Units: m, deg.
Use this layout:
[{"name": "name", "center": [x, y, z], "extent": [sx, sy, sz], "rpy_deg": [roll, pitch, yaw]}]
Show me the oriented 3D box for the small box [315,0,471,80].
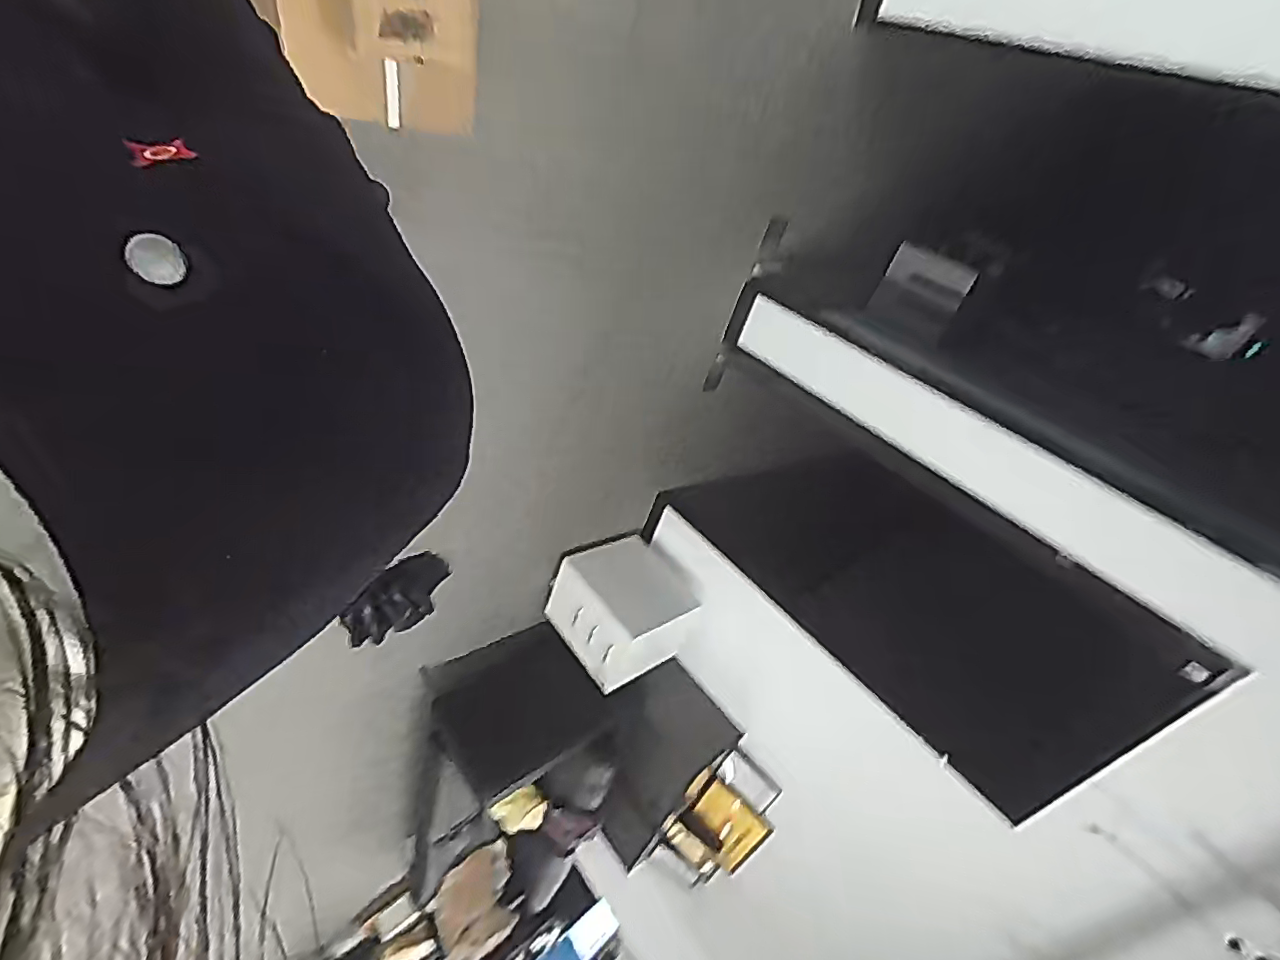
[{"name": "small box", "center": [-0.356, -0.698, 0.766], "extent": [0.168, 0.176, 0.179], "rpy_deg": [-24, 143, -33]}]
